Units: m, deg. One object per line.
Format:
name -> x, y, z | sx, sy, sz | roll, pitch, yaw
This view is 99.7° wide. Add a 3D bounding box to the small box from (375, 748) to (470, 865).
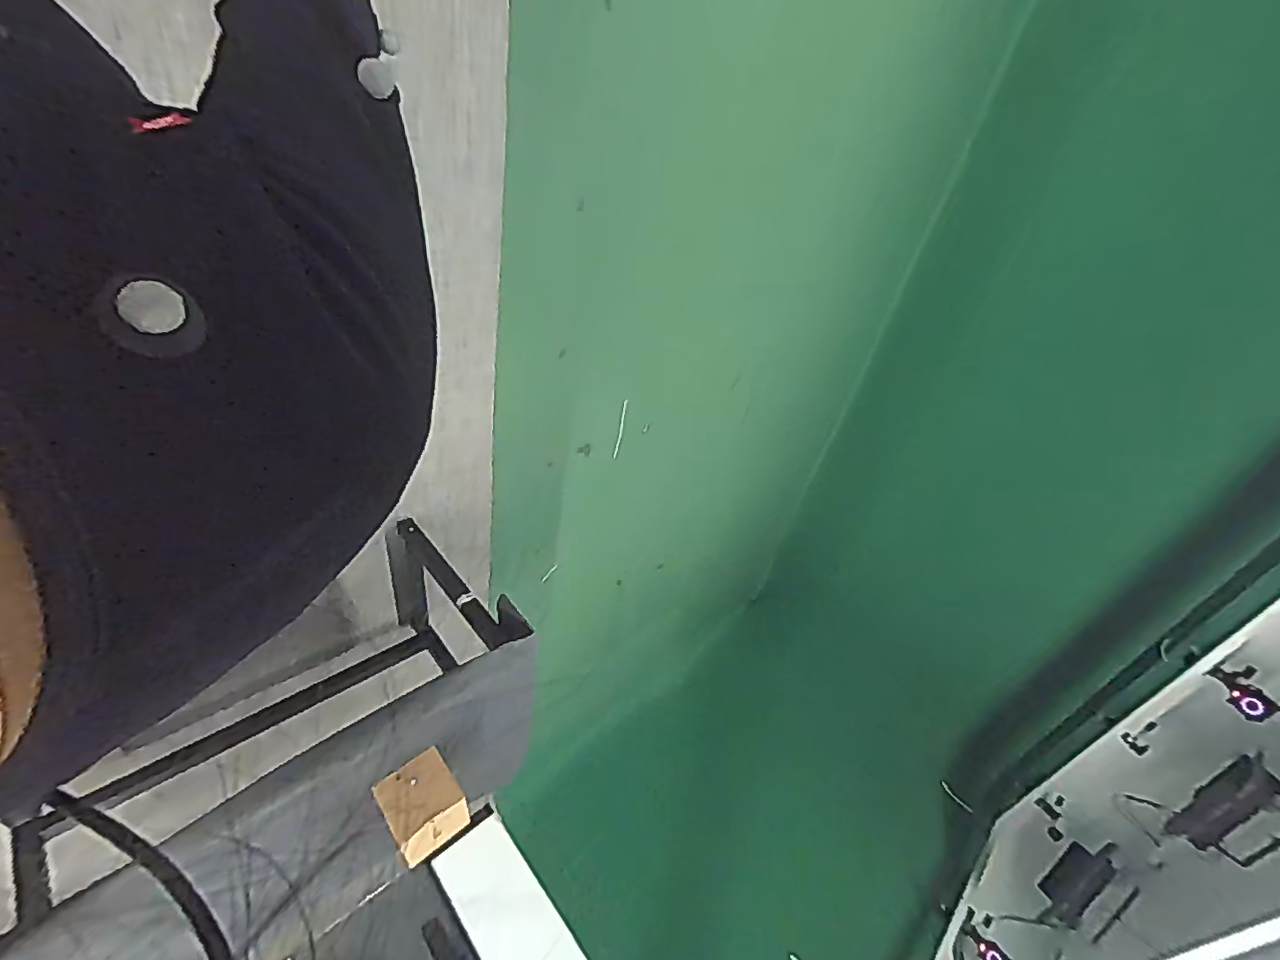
small box -> -0.561, 0.837, 1.400 | 0.168, 0.176, 0.179 | -27, 141, -36
